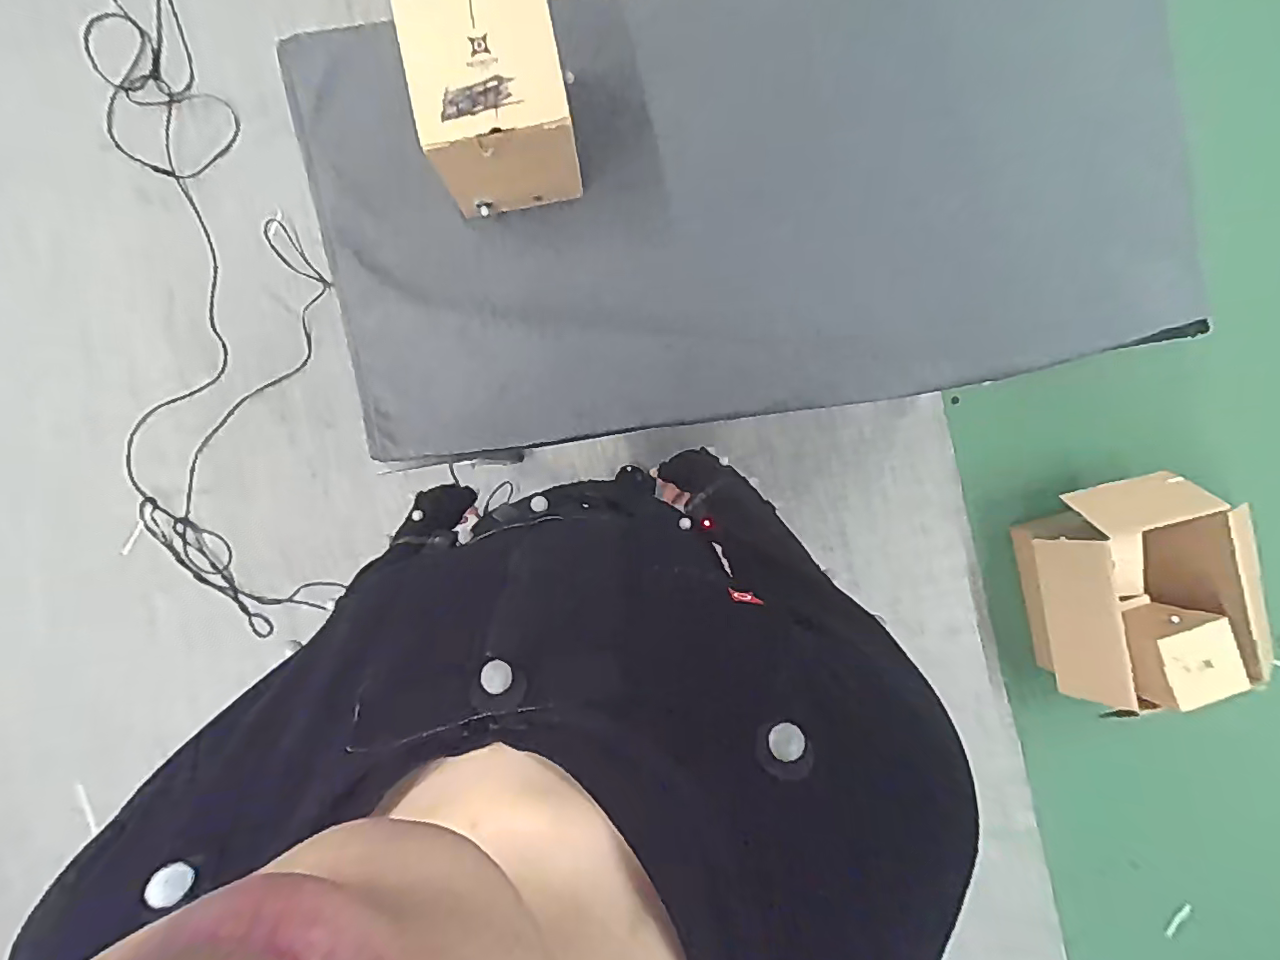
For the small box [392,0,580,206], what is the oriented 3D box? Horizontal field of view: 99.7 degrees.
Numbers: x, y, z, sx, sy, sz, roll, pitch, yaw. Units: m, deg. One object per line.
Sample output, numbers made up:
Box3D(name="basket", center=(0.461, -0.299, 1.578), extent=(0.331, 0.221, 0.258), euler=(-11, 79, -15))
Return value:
Box3D(name="small box", center=(-0.172, -0.458, 0.656), extent=(0.168, 0.176, 0.179), euler=(-12, 92, -2))
